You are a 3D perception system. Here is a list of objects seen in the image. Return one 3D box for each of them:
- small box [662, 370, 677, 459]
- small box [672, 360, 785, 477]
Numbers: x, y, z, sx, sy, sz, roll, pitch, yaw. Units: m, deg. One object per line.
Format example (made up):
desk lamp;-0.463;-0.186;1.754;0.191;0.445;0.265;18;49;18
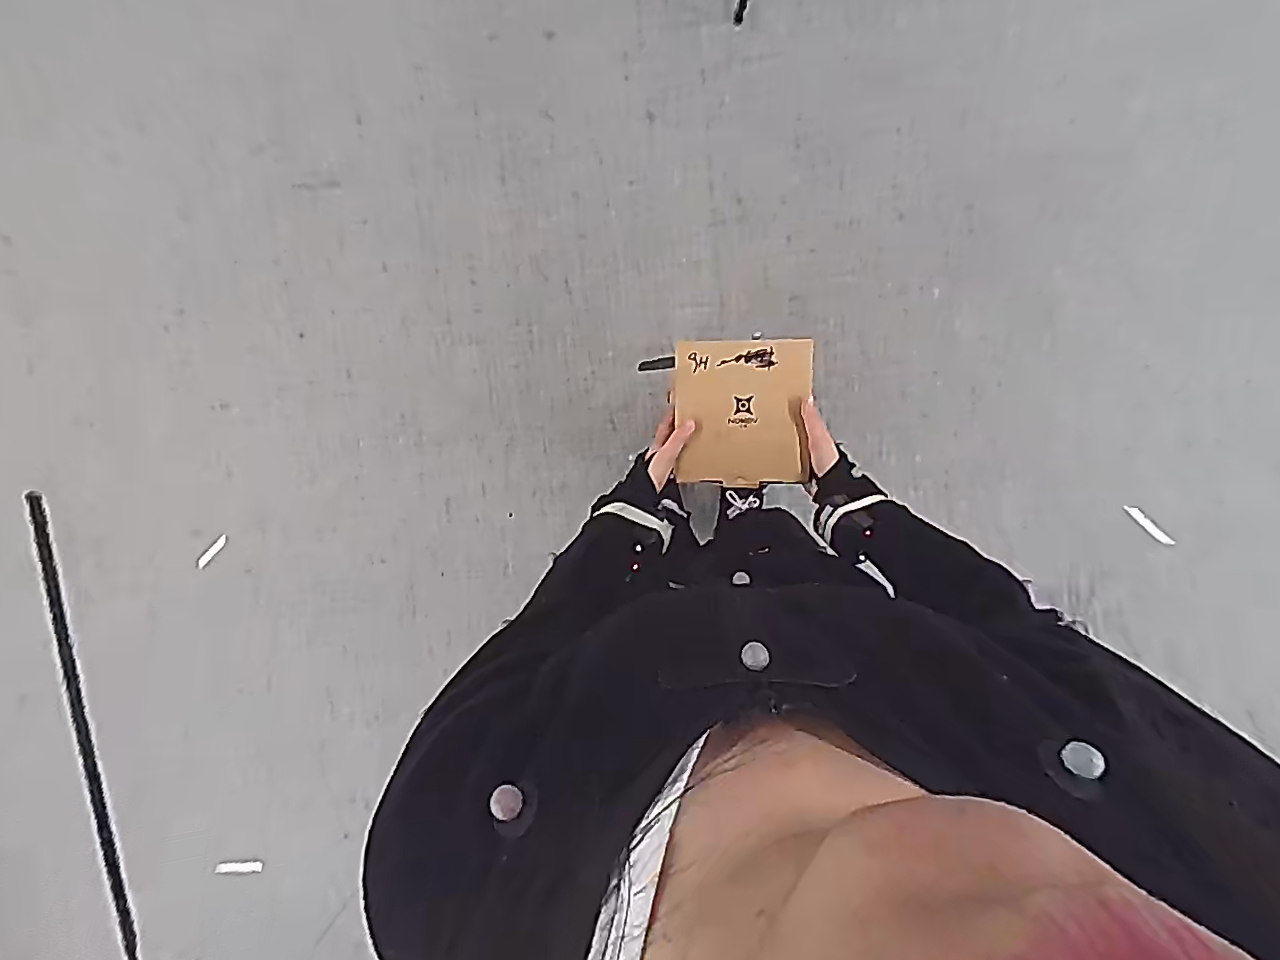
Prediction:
small box;0.137;-0.125;1.070;0.179;0.176;0.168;2;98;3
small box;0.139;-0.103;0.906;0.168;0.176;0.179;2;97;5
